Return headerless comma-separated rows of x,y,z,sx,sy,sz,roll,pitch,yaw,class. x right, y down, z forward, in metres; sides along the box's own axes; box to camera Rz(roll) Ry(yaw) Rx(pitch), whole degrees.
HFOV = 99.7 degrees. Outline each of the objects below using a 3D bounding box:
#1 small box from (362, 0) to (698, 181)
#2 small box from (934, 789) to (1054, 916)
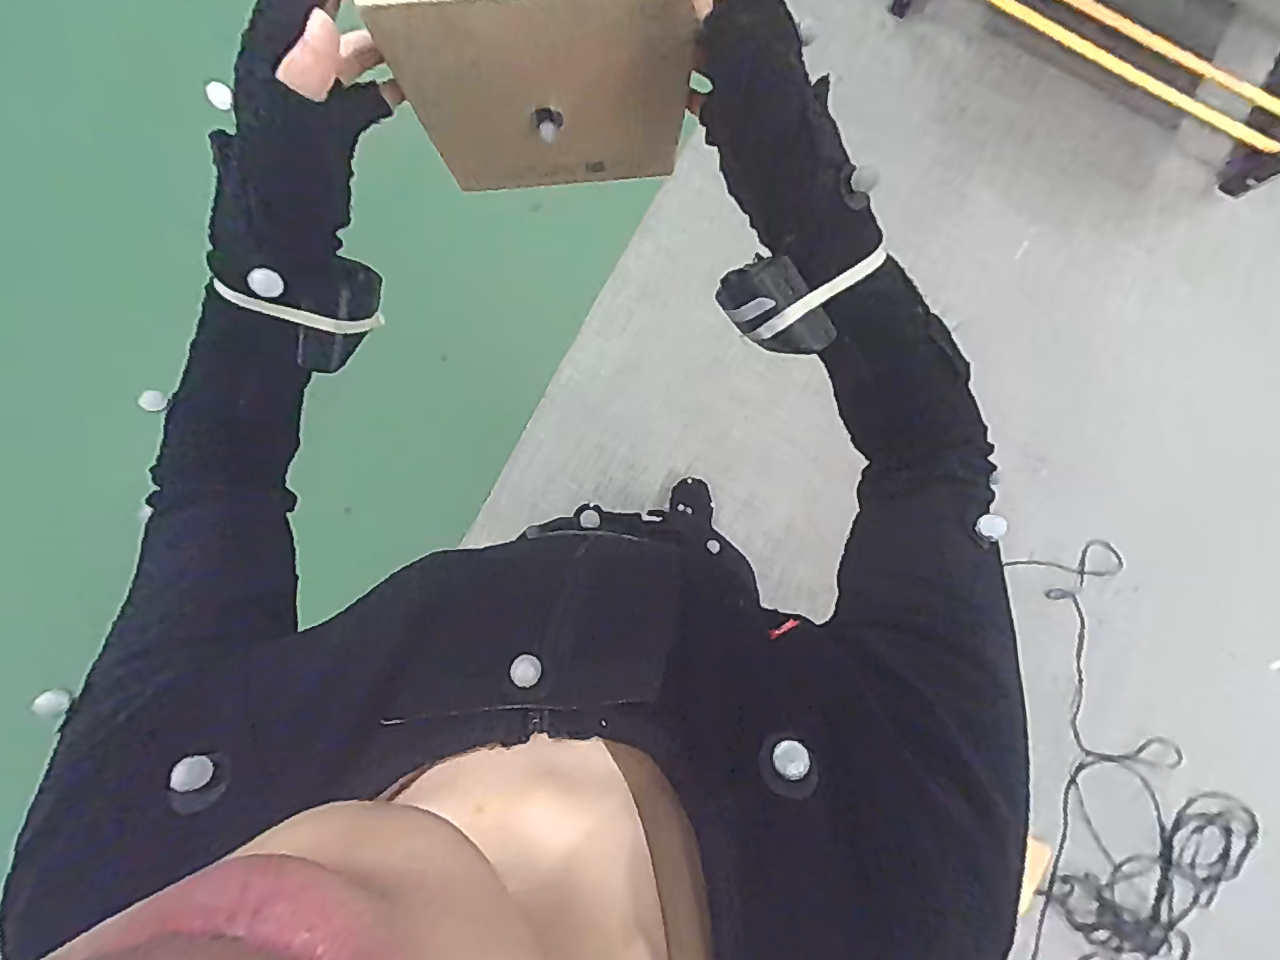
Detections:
-0.057,-0.309,0.335,0.168,0.176,0.179,-4,90,-2,small box
0.898,0.947,1.391,0.168,0.176,0.179,27,86,0,small box
